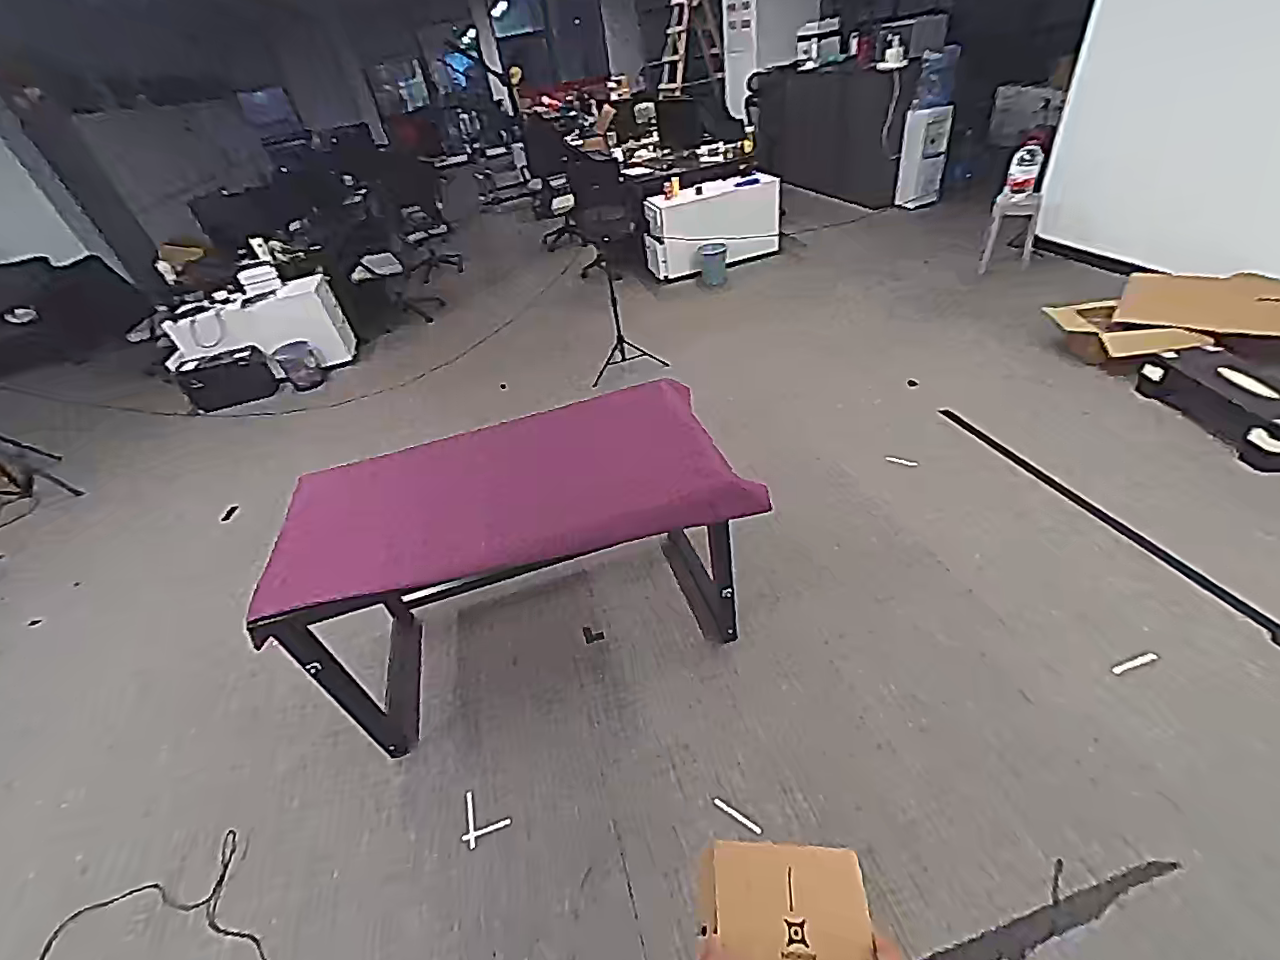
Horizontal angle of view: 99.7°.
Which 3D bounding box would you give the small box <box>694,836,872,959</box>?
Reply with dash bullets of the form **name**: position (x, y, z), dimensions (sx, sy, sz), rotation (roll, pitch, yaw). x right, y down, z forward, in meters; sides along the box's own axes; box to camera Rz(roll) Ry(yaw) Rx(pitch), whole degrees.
- **small box**: position (0.154, 0.529, 0.619), dimensions (0.168, 0.176, 0.179), rotation (4, 49, 0)
